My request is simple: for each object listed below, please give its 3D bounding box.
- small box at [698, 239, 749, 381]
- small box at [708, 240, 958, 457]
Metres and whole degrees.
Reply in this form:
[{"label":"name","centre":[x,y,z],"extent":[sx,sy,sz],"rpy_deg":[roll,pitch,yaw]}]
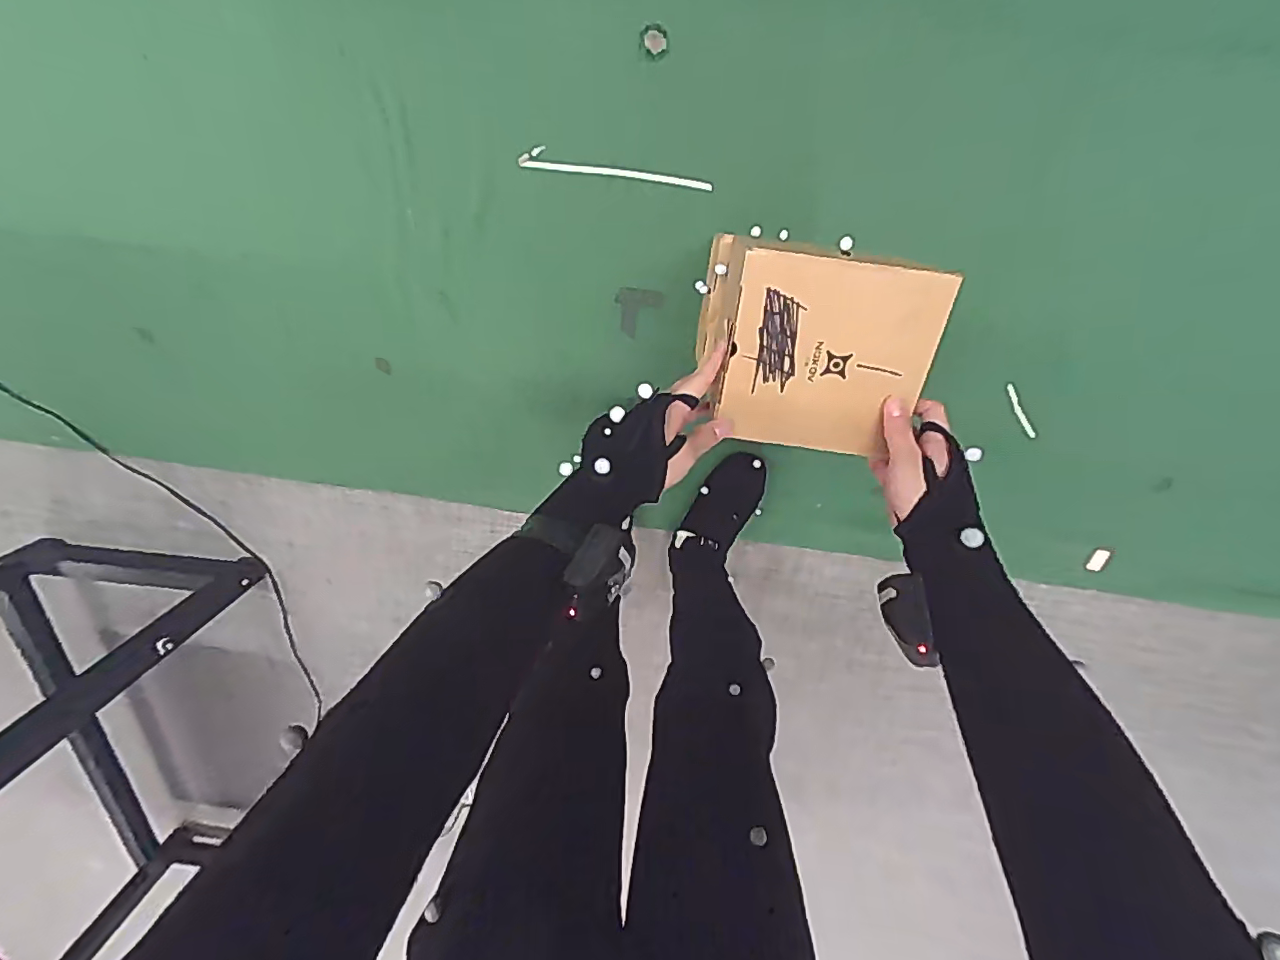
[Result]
[{"label":"small box","centre":[0.175,-0.220,0.714],"extent":[0.179,0.176,0.168],"rpy_deg":[9,115,3]},{"label":"small box","centre":[0.168,-0.141,0.543],"extent":[0.179,0.176,0.168],"rpy_deg":[8,118,0]}]
